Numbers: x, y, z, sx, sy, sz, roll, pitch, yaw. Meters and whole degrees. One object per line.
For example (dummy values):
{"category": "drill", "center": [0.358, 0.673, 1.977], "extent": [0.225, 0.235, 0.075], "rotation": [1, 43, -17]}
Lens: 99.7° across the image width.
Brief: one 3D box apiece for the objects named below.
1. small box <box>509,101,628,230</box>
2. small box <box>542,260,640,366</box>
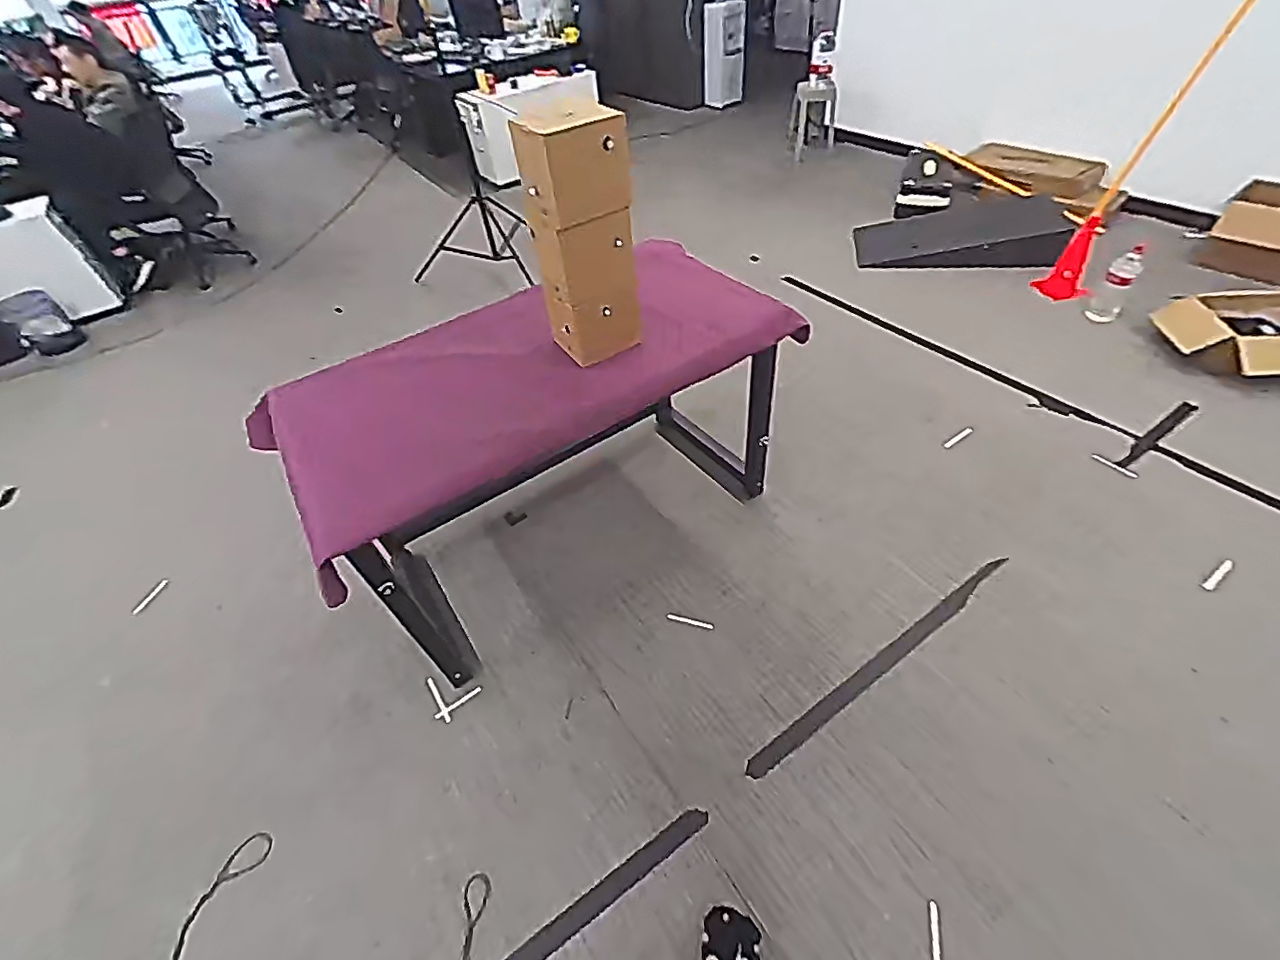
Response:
{"category": "small box", "center": [-0.136, -0.633, 1.089], "extent": [0.179, 0.176, 0.168], "rotation": [-29, 50, -18]}
{"category": "small box", "center": [-0.115, -0.407, 1.328], "extent": [0.179, 0.176, 0.168], "rotation": [-28, 51, -19]}
